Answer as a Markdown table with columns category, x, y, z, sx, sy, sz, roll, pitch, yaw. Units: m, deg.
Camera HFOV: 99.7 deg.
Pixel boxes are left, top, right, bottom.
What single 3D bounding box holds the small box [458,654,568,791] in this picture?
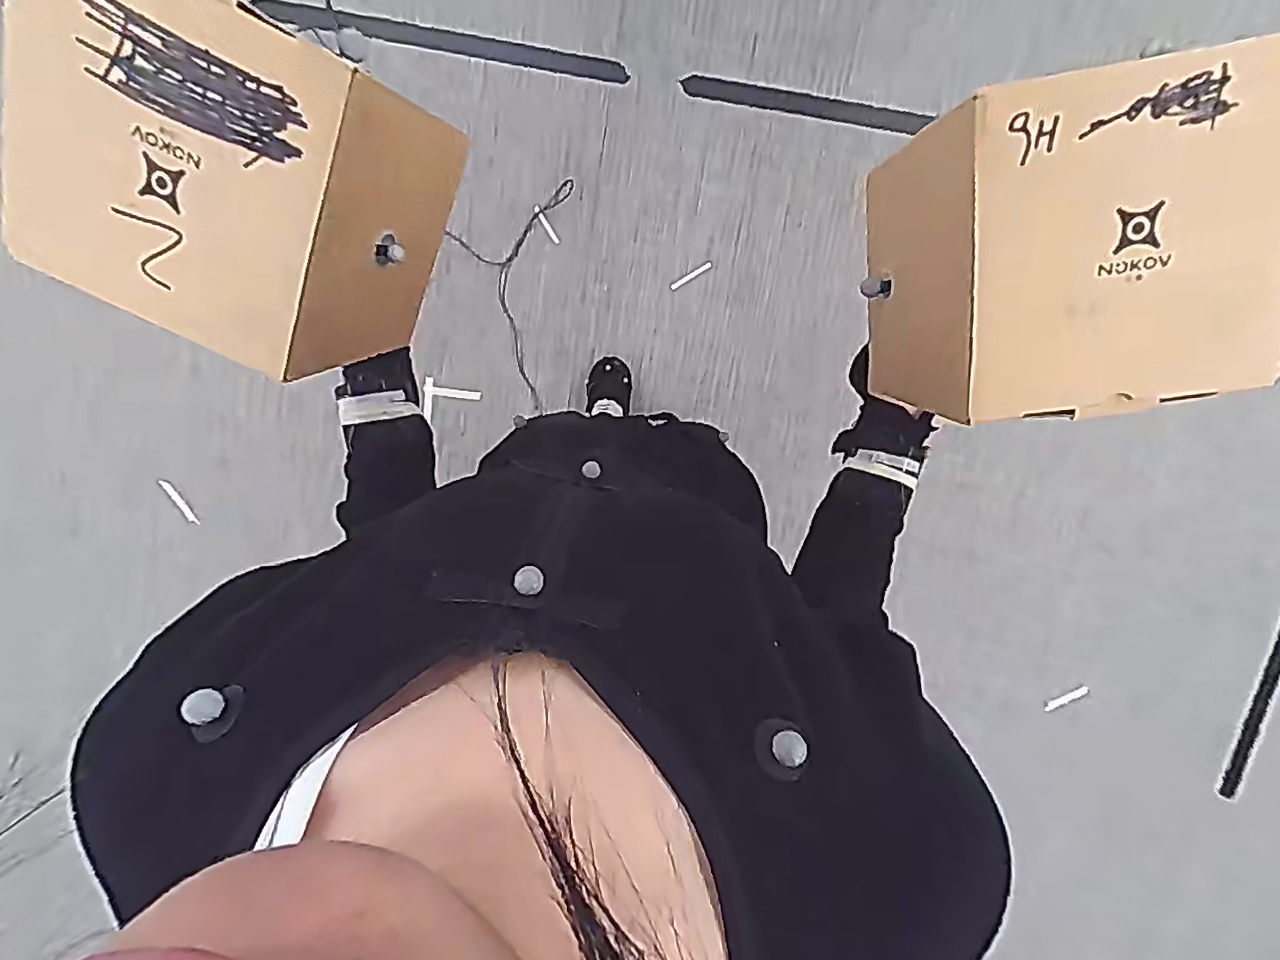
| category | x | y | z | sx | sy | sz | roll | pitch | yaw |
| --- | --- | --- | --- | --- | --- | --- | --- | --- | --- |
| small box | -0.232 | 0.445 | 1.016 | 0.168 | 0.176 | 0.179 | 3 | 99 | 3 |

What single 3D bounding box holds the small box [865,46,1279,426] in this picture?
| category | x | y | z | sx | sy | sz | roll | pitch | yaw |
| --- | --- | --- | --- | --- | --- | --- | --- | --- | --- |
| small box | 0.266 | -0.147 | 0.371 | 0.168 | 0.176 | 0.179 | -7 | 107 | 5 |

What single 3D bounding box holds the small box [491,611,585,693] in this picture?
| category | x | y | z | sx | sy | sz | roll | pitch | yaw |
| --- | --- | --- | --- | --- | --- | --- | --- | --- | --- |
| small box | -0.229 | 0.406 | 1.175 | 0.179 | 0.176 | 0.168 | 18 | 98 | 0 |
